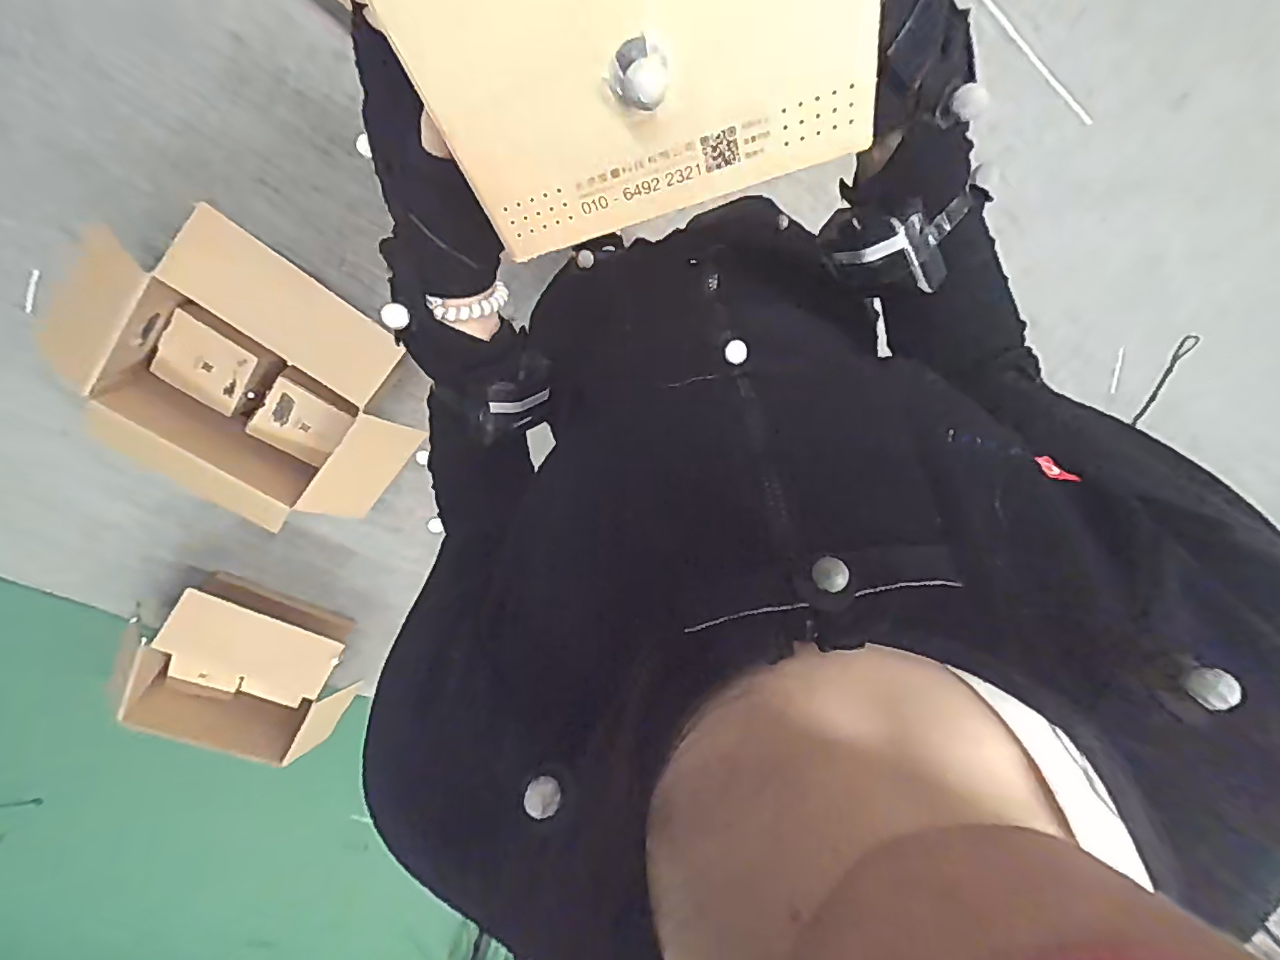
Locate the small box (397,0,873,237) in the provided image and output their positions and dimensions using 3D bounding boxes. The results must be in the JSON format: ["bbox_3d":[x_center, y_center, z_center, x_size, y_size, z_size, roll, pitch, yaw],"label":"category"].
[{"bbox_3d":[-0.010,-0.238,0.222,0.168,0.179,0.176,-13,145,12],"label":"small box"}]
